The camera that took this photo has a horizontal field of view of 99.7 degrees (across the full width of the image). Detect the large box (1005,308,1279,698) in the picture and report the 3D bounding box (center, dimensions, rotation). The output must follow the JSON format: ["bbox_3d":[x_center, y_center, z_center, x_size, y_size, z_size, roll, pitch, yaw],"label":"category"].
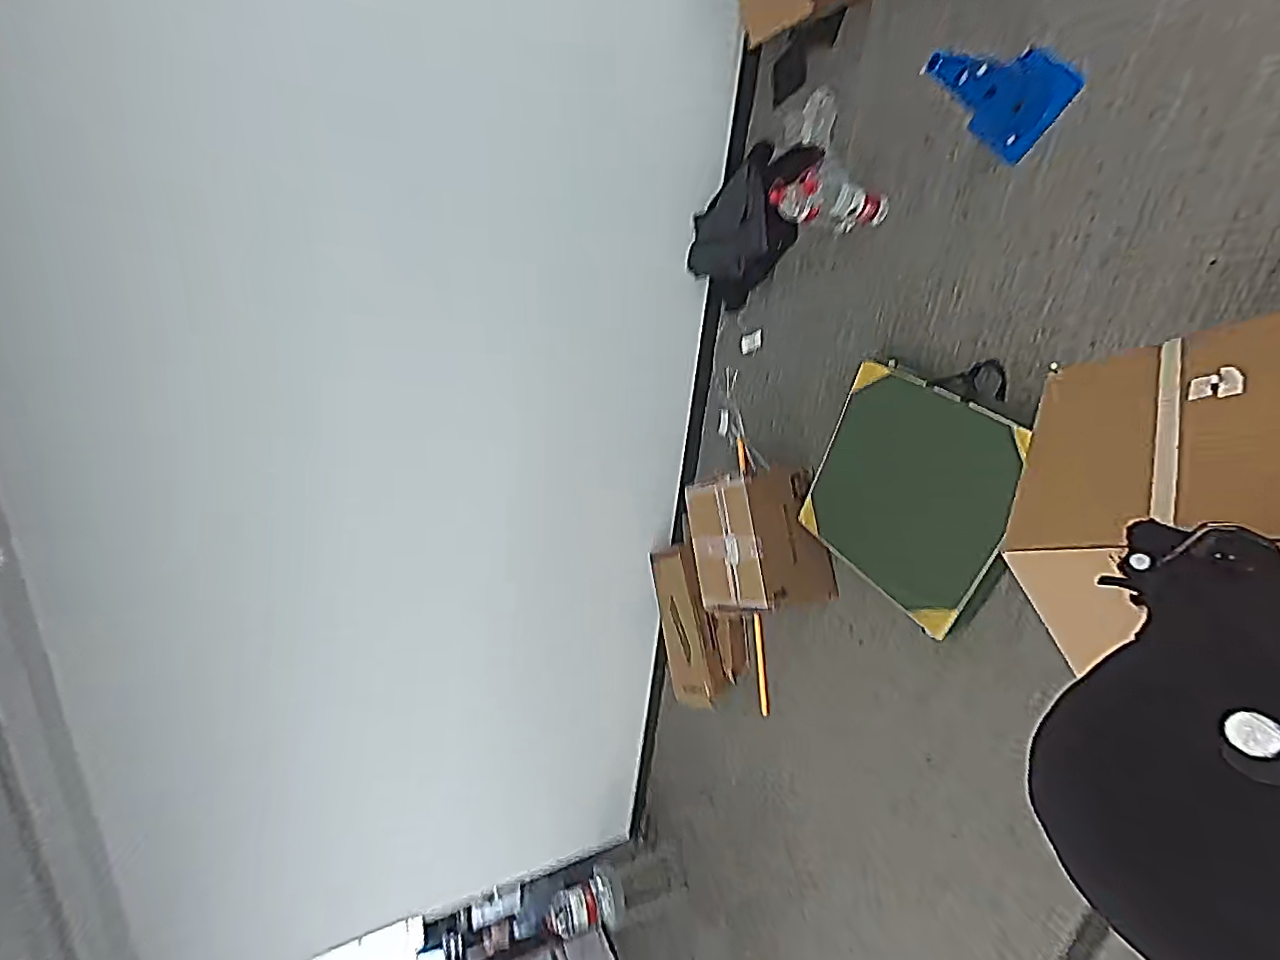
[{"bbox_3d":[0.770,0.033,0.741,0.320,0.408,0.320,50,150,-19],"label":"large box"}]
